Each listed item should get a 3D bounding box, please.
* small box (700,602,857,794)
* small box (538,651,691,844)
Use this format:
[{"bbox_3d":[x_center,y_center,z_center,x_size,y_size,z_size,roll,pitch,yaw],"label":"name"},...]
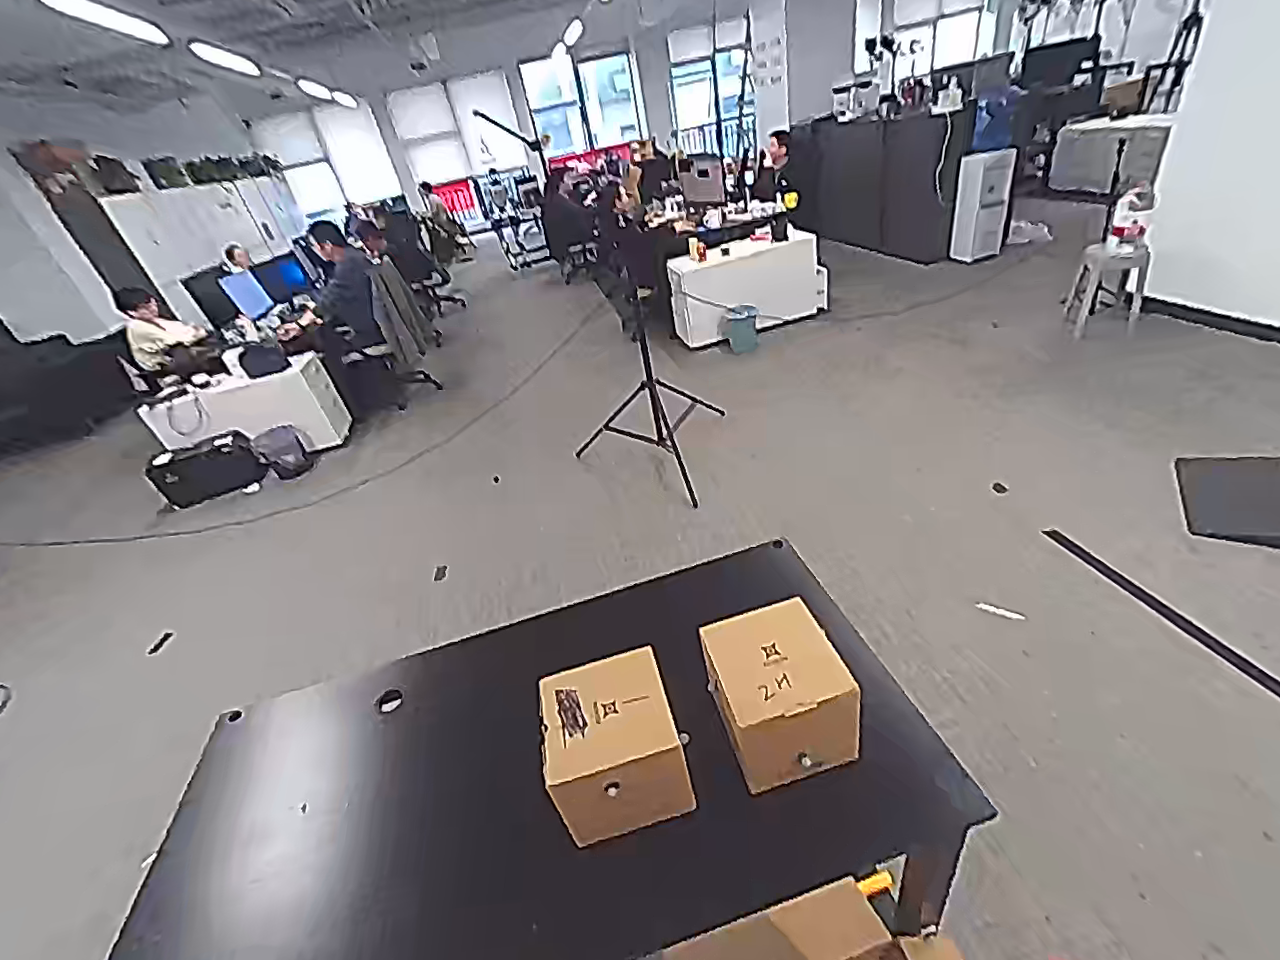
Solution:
[{"bbox_3d":[0.199,0.318,0.799,0.168,0.176,0.179,-17,33,-3],"label":"small box"},{"bbox_3d":[-0.037,0.385,0.781,0.179,0.176,0.168,-15,33,-4],"label":"small box"}]
